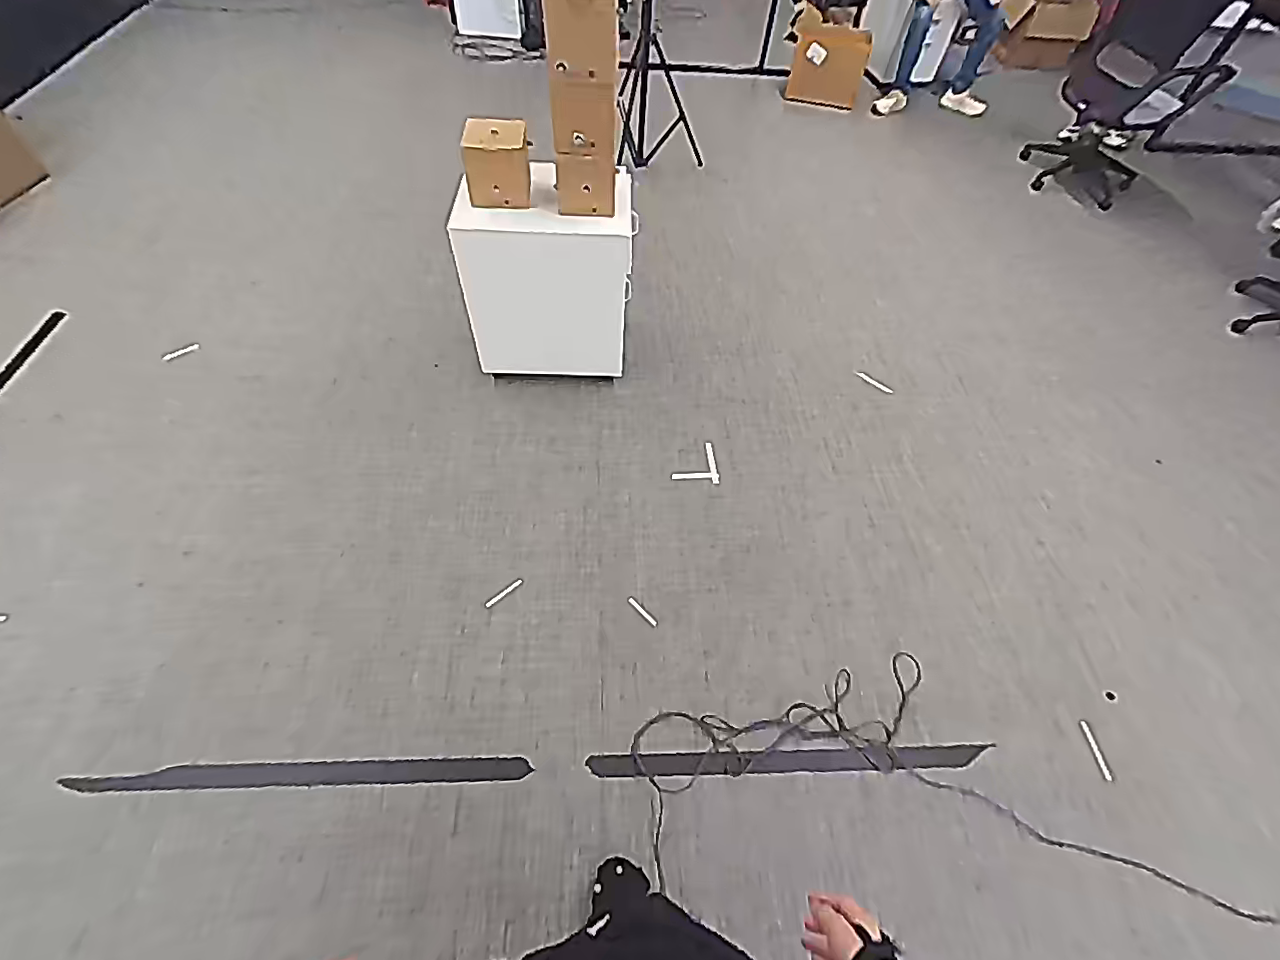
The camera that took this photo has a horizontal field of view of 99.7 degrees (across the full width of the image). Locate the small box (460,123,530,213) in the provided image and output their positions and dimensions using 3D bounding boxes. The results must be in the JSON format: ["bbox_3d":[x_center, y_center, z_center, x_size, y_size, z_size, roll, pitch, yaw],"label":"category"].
[{"bbox_3d":[-0.411,-0.900,1.563,0.168,0.176,0.179,-1,55,-5],"label":"small box"}]

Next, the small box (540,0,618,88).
[{"bbox_3d":[-0.140,-1.073,1.303,0.168,0.176,0.179,2,53,-1],"label":"small box"}]

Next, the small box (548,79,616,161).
[{"bbox_3d":[-0.149,-0.980,1.439,0.168,0.176,0.179,0,55,-2],"label":"small box"}]

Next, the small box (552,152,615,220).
[{"bbox_3d":[-0.157,-0.878,1.567,0.168,0.176,0.179,1,56,-2],"label":"small box"}]
